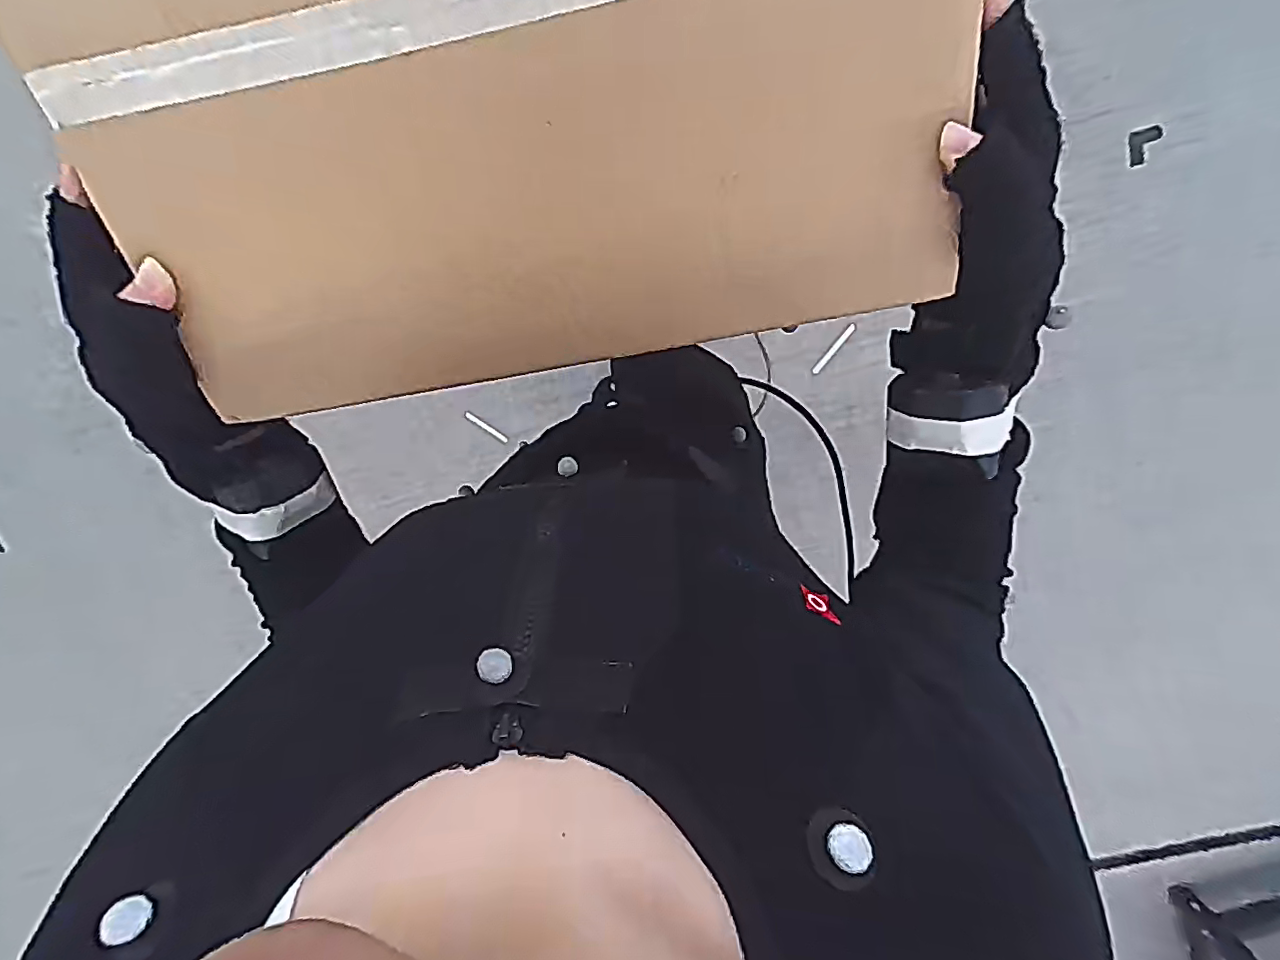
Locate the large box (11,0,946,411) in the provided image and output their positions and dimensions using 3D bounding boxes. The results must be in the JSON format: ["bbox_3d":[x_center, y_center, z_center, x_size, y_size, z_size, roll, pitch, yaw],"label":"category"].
[{"bbox_3d":[-0.067,-0.276,0.366,0.408,0.320,0.320,-9,116,5],"label":"large box"}]
